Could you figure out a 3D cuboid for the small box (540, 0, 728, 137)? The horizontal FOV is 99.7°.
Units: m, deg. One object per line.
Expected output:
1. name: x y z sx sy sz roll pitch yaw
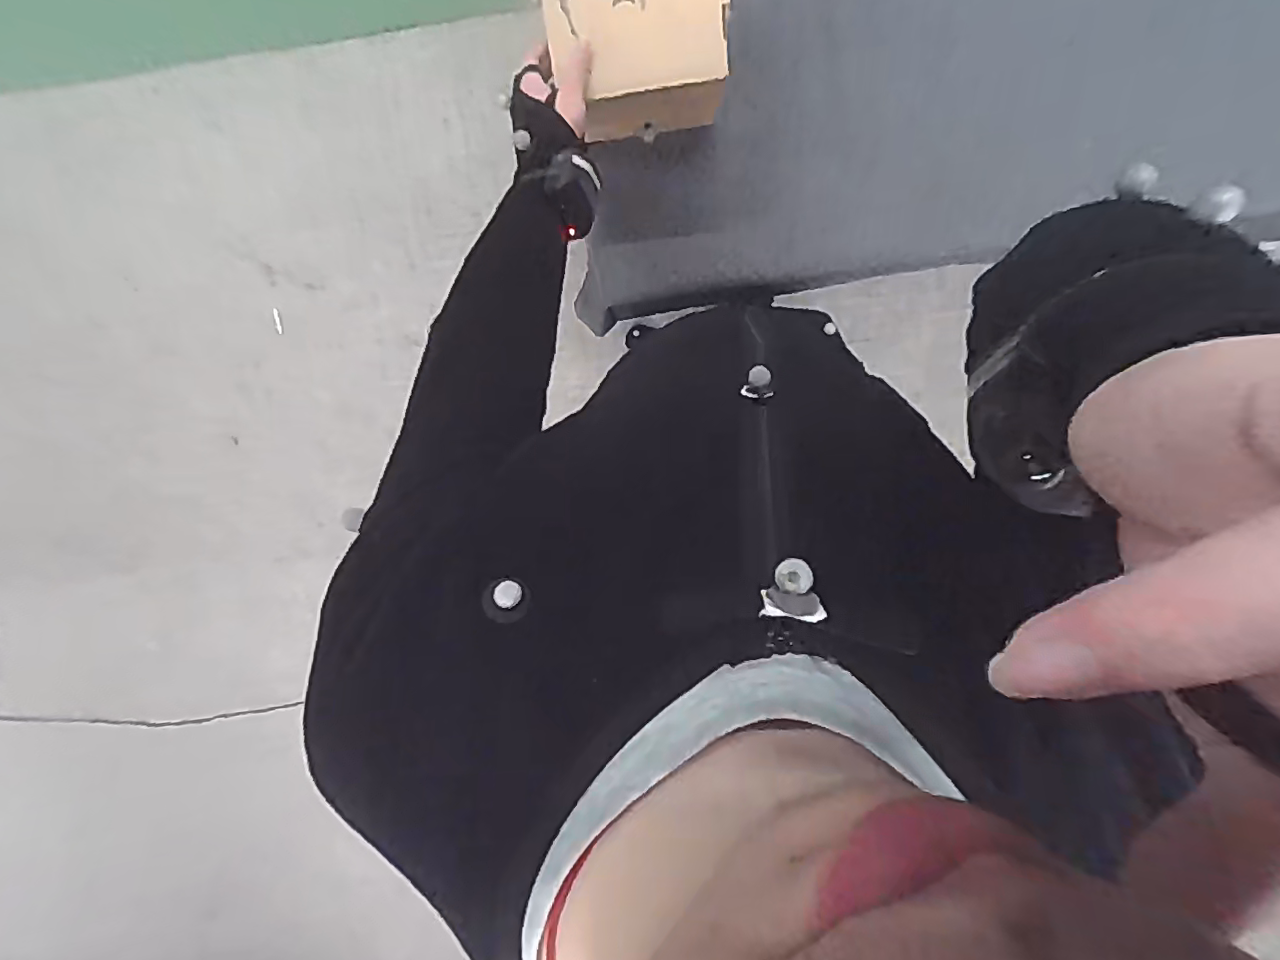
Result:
1. small box: -0.006 -0.489 0.581 0.179 0.176 0.168 -5 110 5
